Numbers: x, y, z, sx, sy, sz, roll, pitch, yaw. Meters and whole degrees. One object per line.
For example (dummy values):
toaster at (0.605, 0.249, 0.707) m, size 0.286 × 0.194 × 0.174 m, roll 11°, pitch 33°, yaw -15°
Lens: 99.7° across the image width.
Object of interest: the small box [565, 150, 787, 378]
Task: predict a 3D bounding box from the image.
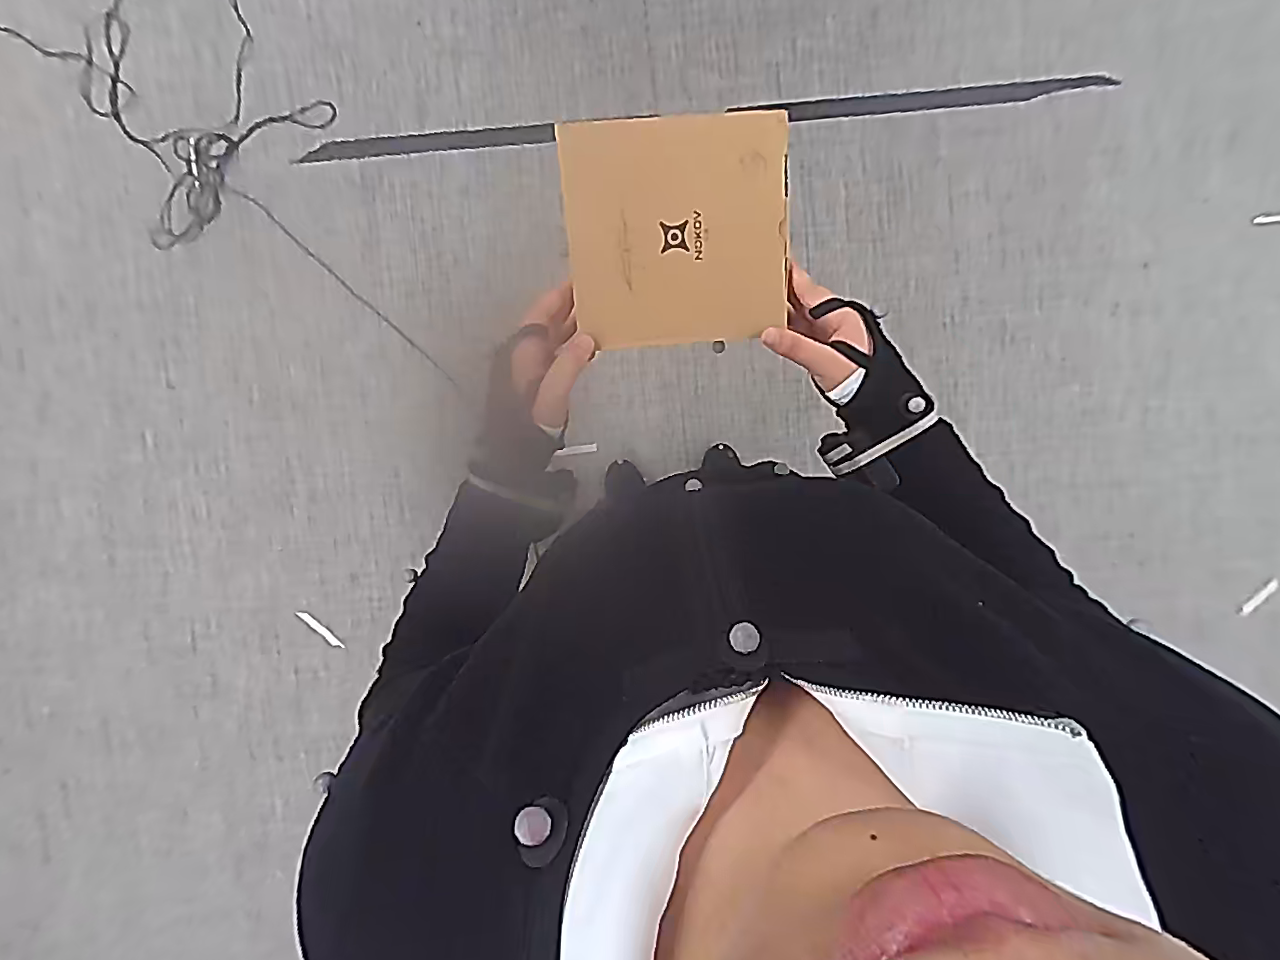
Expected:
small box at (0.029, -0.195, 0.519) m, size 0.179 × 0.176 × 0.168 m, roll -6°, pitch 106°, yaw -1°
